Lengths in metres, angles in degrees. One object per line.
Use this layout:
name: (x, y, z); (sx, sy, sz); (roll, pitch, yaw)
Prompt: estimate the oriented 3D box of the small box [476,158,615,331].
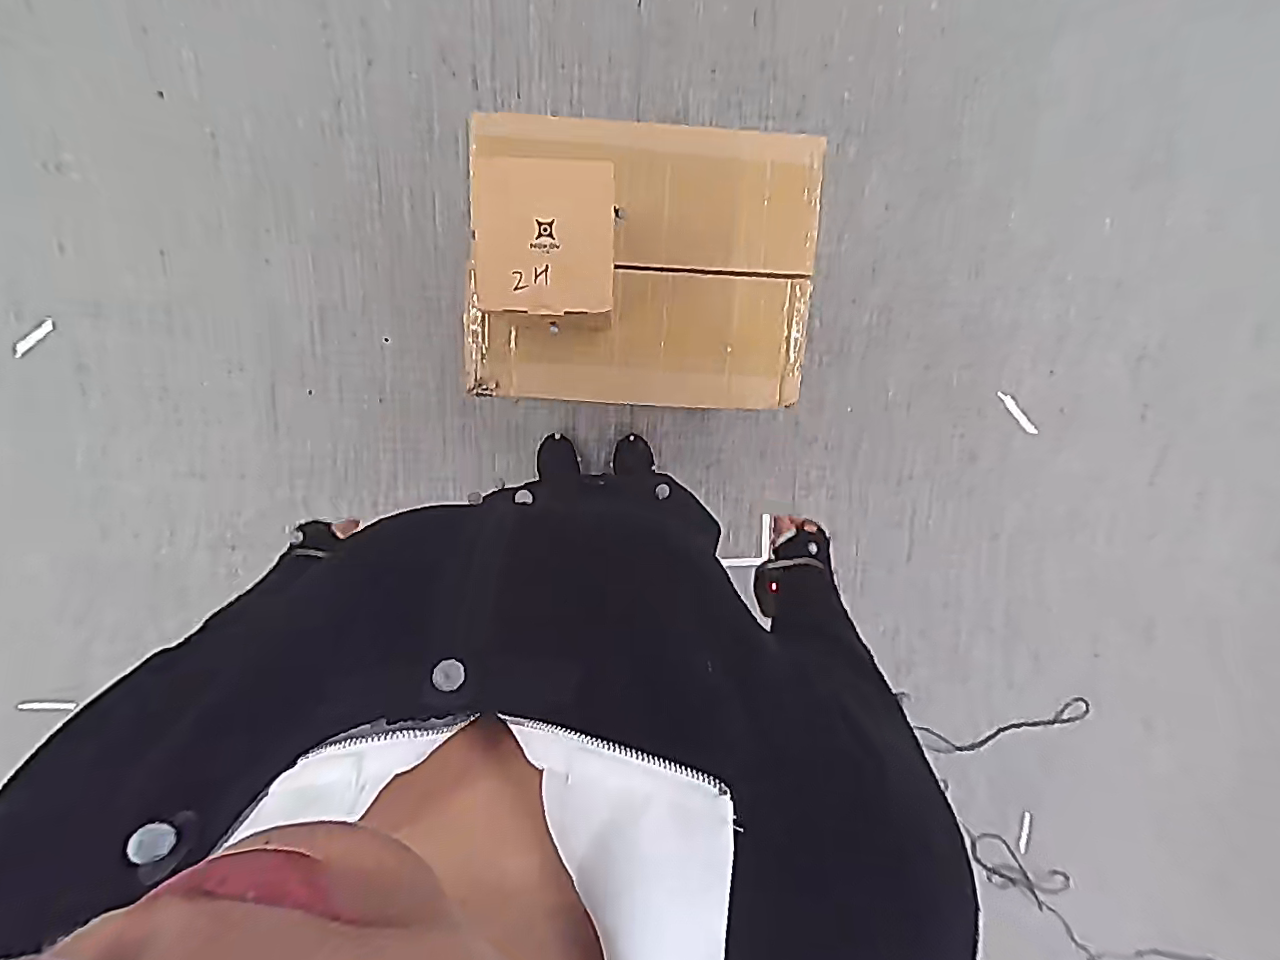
small box: (-0.119, -0.303, 0.728); (0.168, 0.176, 0.179); (0, 100, -3)
